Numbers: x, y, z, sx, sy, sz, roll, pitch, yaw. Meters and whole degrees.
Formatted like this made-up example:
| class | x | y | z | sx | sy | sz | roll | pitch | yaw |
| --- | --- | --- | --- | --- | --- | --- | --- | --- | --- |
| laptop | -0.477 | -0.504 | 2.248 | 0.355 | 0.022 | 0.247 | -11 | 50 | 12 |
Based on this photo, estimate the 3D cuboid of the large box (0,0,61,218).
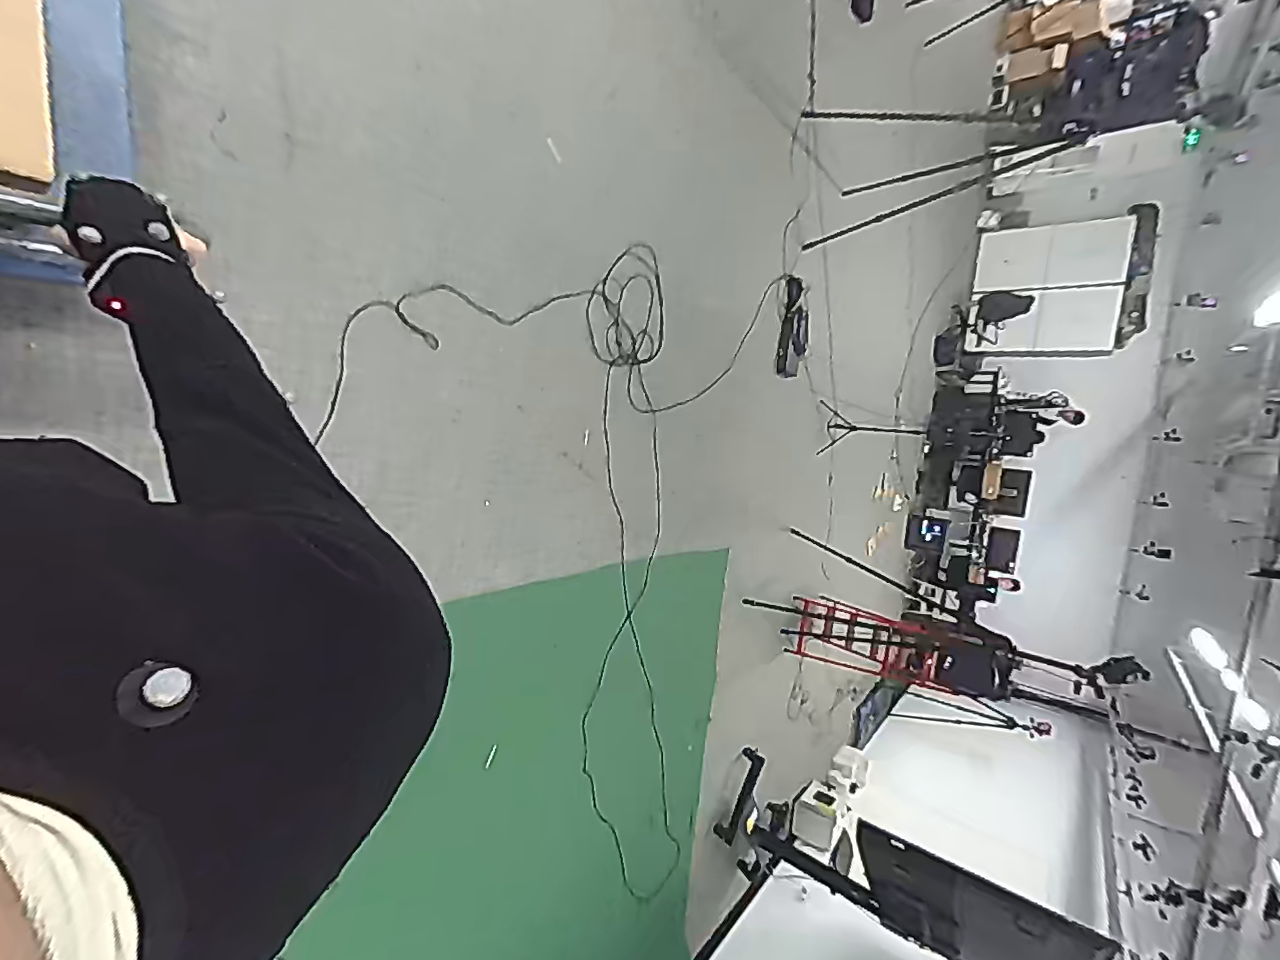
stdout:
| class | x | y | z | sx | sy | sz | roll | pitch | yaw |
| --- | --- | --- | --- | --- | --- | --- | --- | --- | --- |
| large box | -1.031 | -0.625 | 0.721 | 0.320 | 0.320 | 0.408 | -7 | 101 | -50 |
